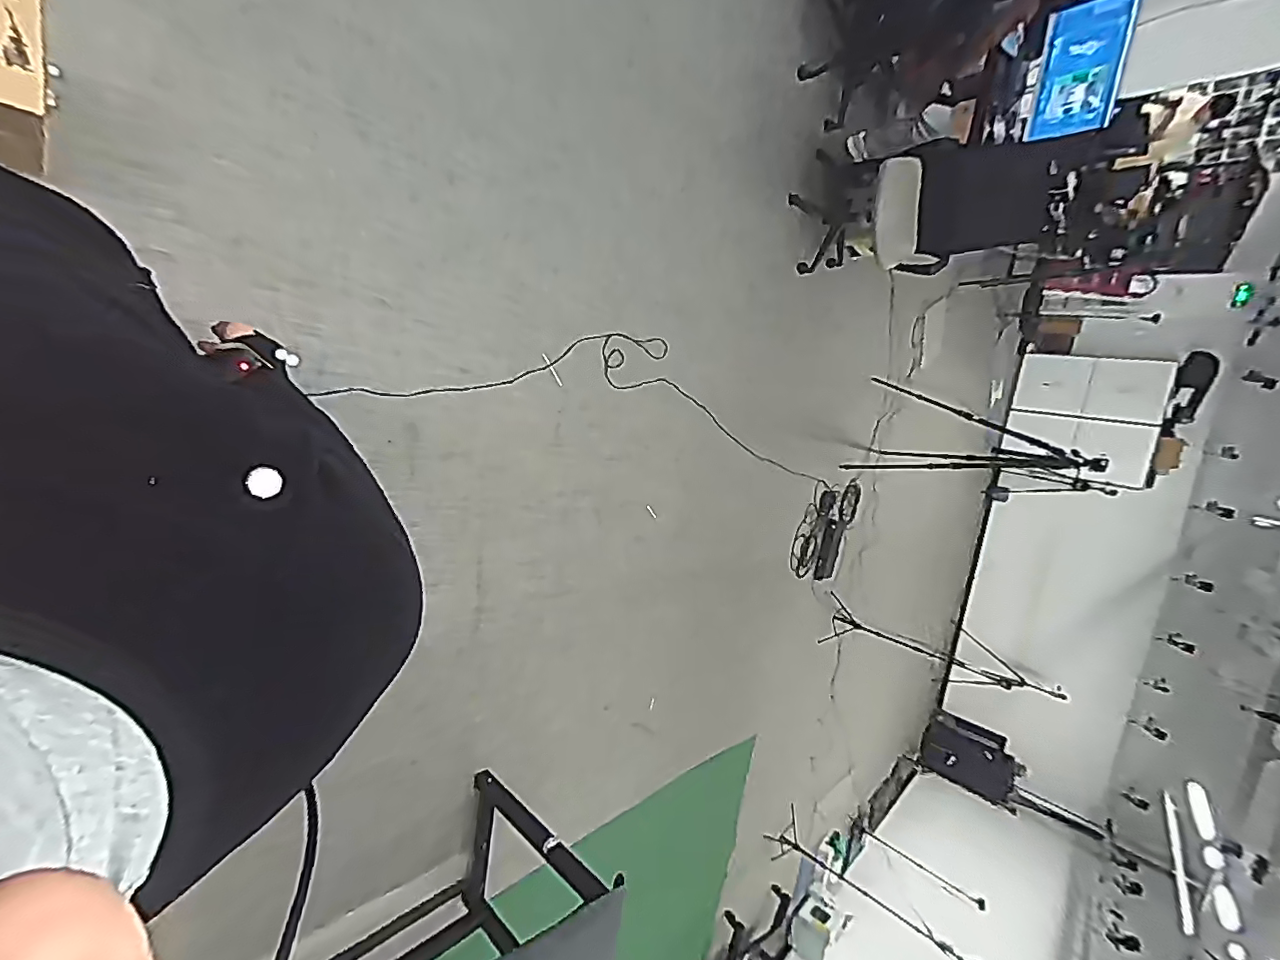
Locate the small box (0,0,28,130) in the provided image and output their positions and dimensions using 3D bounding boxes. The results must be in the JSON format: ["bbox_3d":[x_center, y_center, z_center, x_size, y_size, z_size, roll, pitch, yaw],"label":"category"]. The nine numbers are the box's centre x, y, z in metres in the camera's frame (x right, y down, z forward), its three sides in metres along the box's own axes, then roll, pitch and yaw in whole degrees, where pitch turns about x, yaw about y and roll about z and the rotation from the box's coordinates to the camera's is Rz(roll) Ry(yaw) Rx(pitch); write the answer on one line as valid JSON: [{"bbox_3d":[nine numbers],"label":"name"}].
[{"bbox_3d":[-0.879,-0.558,0.654,0.179,0.176,0.168,-2,104,-47],"label":"small box"}]

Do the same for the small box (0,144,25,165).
[{"bbox_3d":[-1.117,-0.635,0.865,0.168,0.176,0.179,-5,107,-47],"label":"small box"}]
